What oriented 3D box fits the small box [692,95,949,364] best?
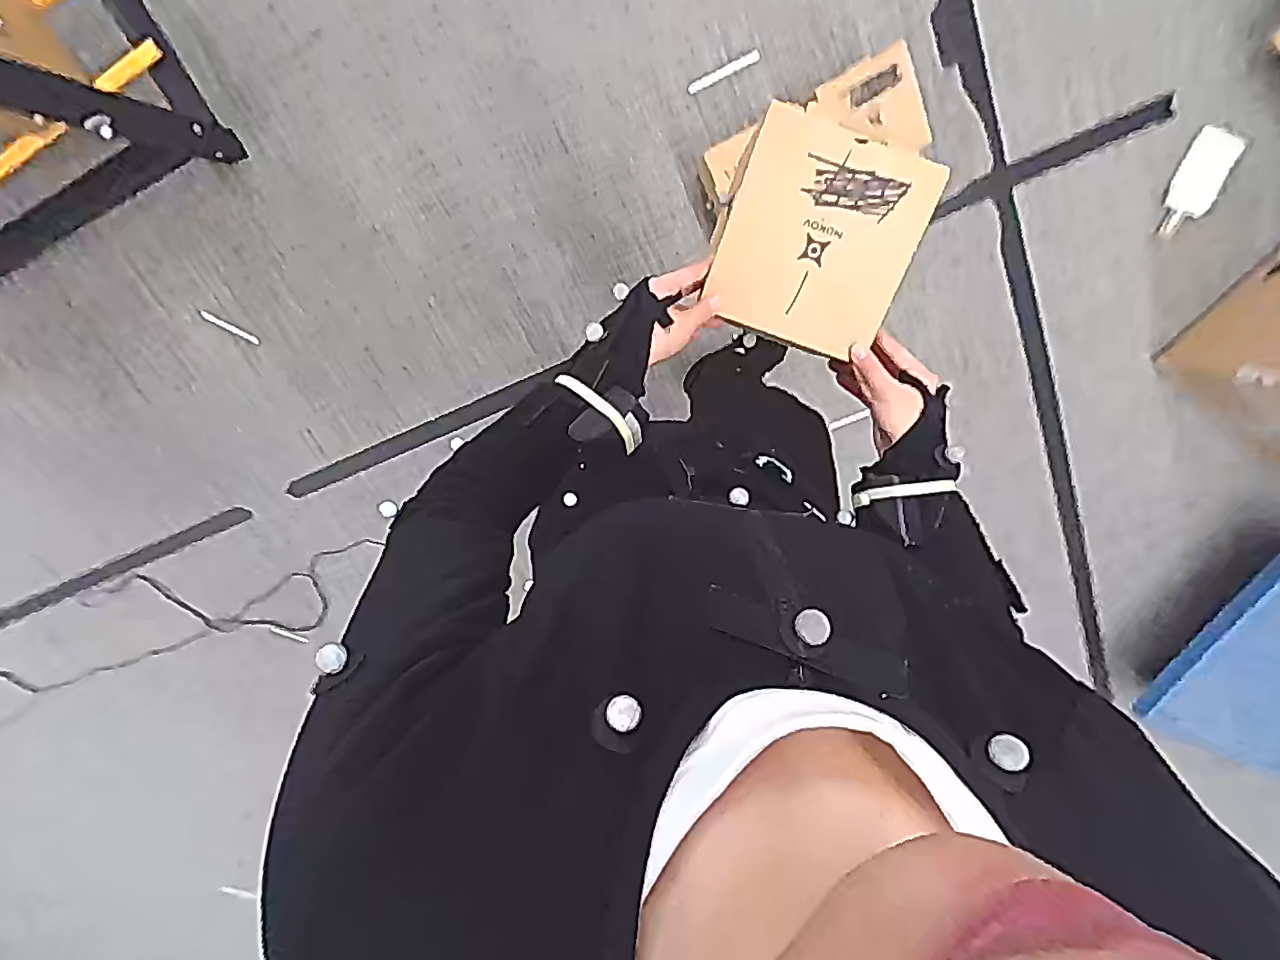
[{"bbox_3d":[0.156,-0.232,0.541,0.168,0.176,0.179,18,107,-3],"label":"small box"}]

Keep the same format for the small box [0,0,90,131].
[{"bbox_3d":[-1.154,-0.752,0.945,0.168,0.176,0.179,-22,110,11],"label":"small box"}]
